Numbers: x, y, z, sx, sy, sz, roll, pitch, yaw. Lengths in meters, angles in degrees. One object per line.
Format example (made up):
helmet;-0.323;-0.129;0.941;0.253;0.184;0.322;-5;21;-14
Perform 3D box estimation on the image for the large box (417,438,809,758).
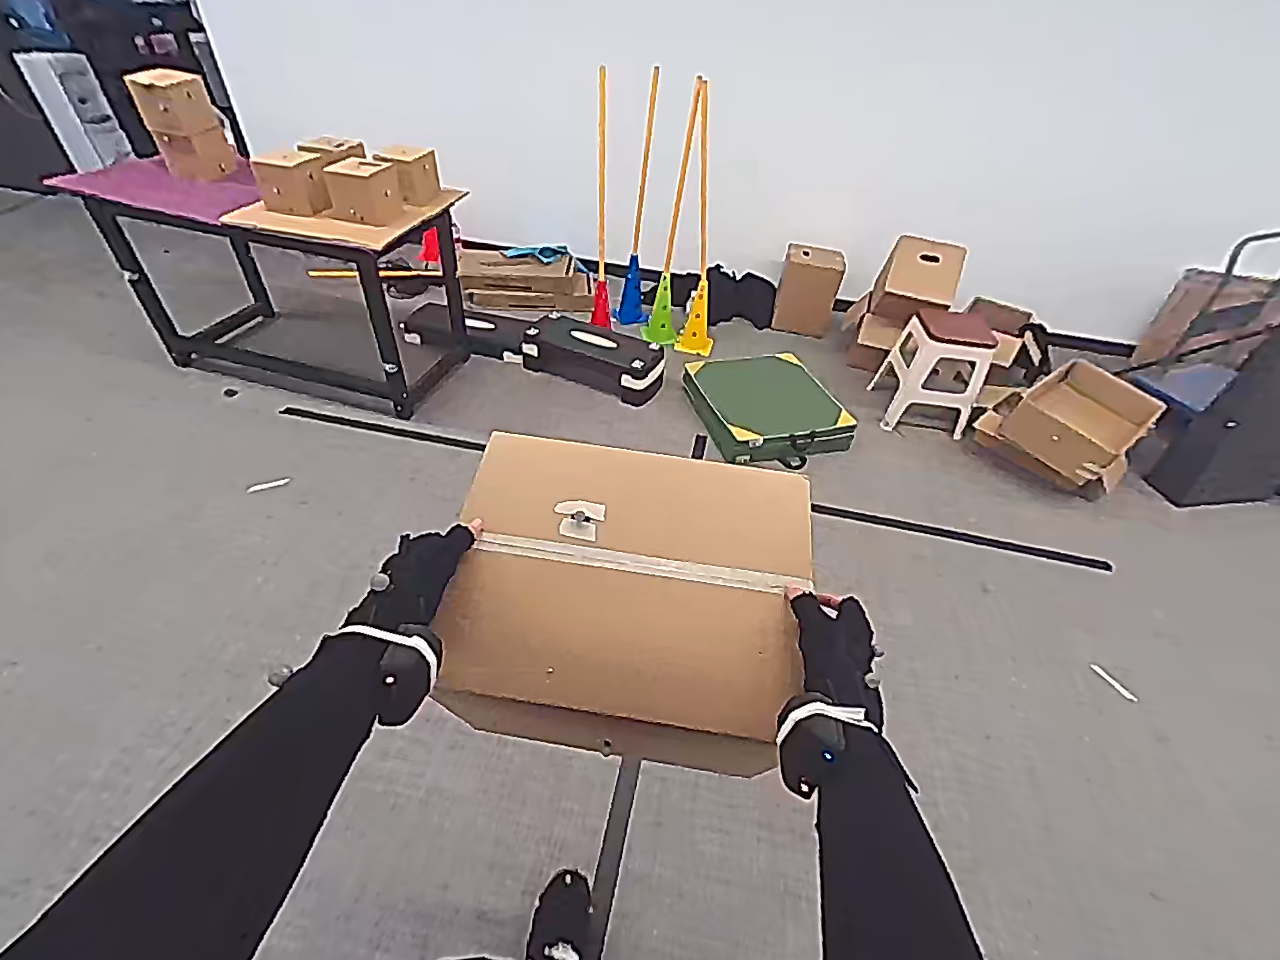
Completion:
large box;-0.013;0.174;0.742;0.408;0.320;0.320;8;57;3
